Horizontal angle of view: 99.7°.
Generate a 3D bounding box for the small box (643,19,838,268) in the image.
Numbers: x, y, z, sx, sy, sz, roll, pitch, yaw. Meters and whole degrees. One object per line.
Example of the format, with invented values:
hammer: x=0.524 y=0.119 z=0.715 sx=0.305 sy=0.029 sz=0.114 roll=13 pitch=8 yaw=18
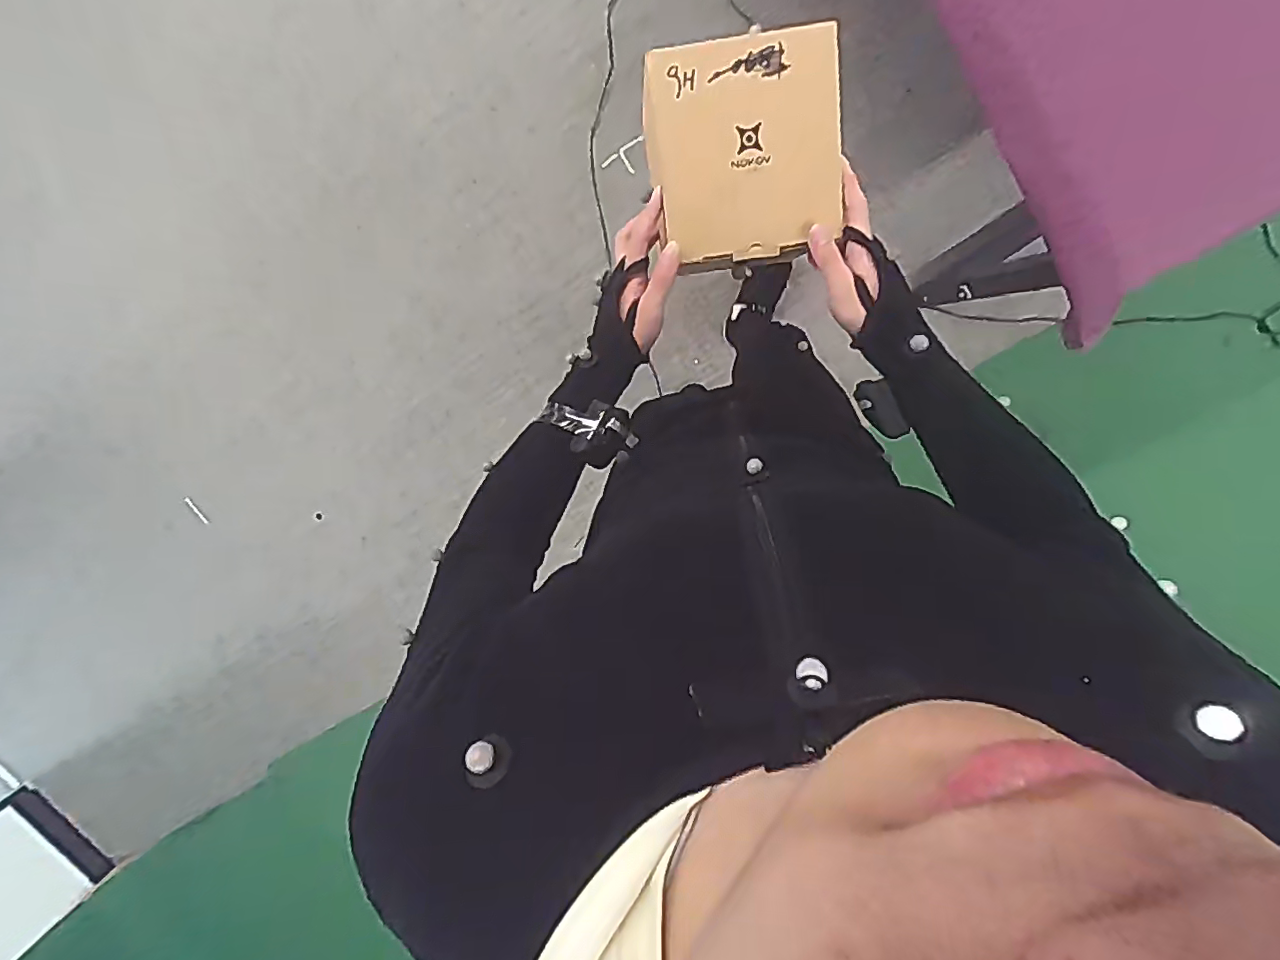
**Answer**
small box: x=0.095 y=-0.322 z=0.560 sx=0.168 sy=0.176 sz=0.179 roll=-8 pitch=107 yaw=2
